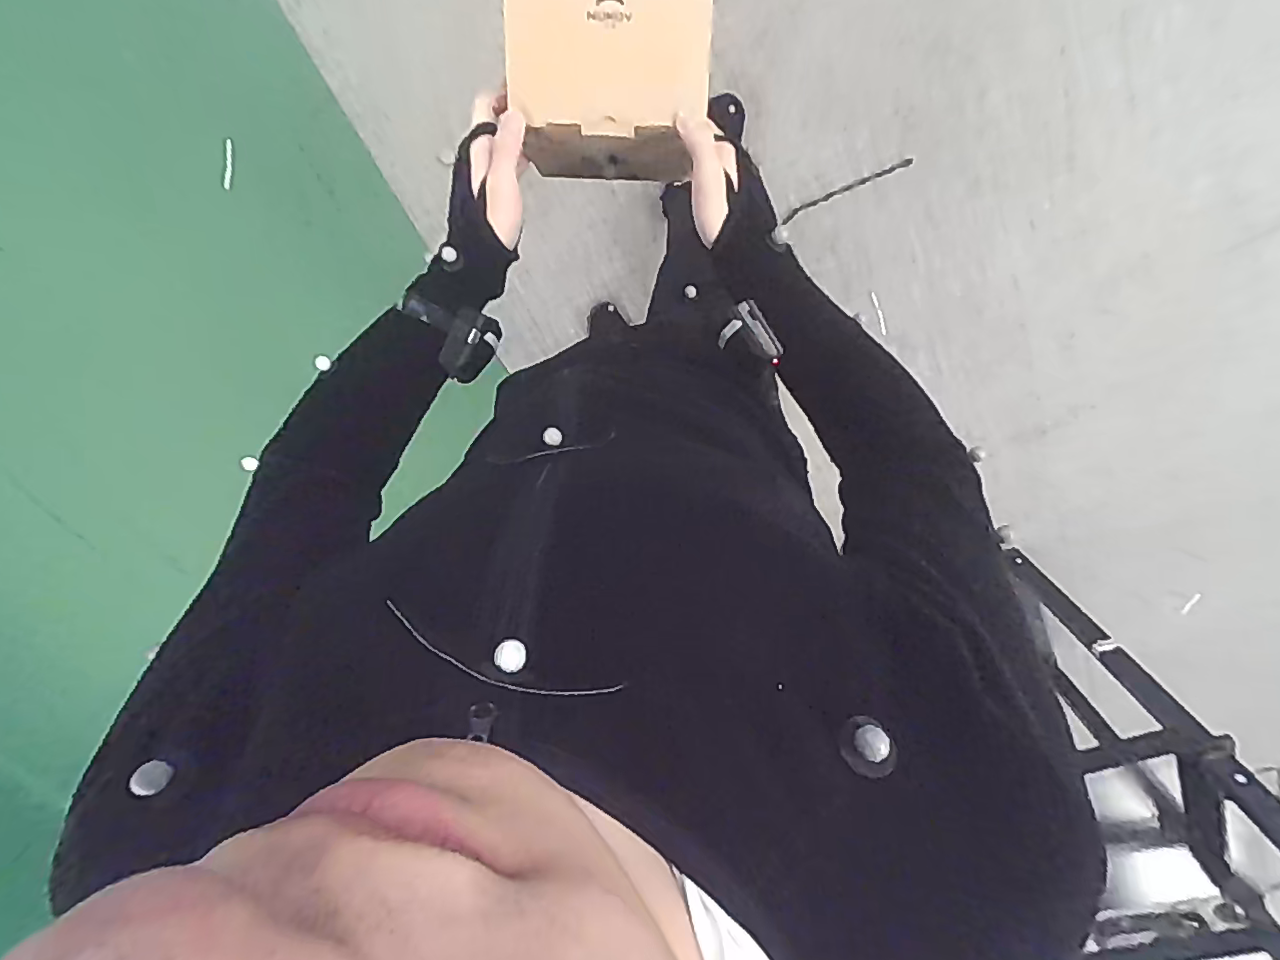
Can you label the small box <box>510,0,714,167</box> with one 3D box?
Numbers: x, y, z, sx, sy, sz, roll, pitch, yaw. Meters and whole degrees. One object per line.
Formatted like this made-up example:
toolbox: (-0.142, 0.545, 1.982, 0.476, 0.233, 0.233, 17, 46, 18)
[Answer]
small box: (-0.021, -0.408, 0.504, 0.168, 0.176, 0.179, 2, 107, -1)
